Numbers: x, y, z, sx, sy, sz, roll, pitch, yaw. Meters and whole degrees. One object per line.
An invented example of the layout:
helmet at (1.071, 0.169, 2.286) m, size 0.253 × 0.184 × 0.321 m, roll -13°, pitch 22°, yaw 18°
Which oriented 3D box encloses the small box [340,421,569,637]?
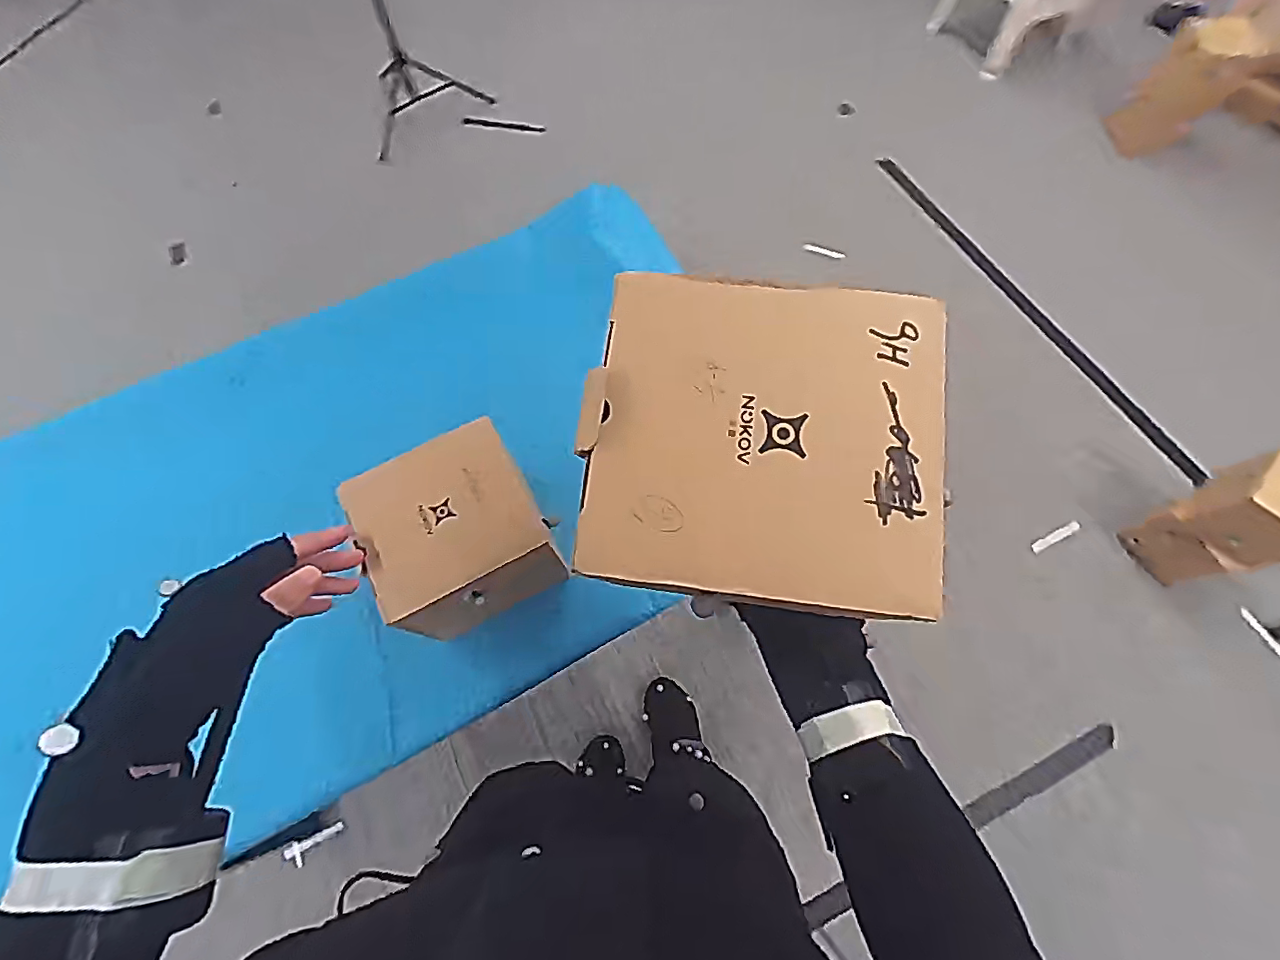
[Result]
small box at (-0.203, 0.068, 0.631) m, size 0.179 × 0.176 × 0.168 m, roll -27°, pitch 70°, yaw -8°

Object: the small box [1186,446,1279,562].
small box at (1.354, 0.050, 1.161) m, size 0.179 × 0.176 × 0.168 m, roll -41°, pitch 71°, yaw -10°

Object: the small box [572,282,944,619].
small box at (0.065, -0.003, 0.348) m, size 0.179 × 0.176 × 0.168 m, roll 5°, pitch 78°, yaw 4°

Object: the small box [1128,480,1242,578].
small box at (1.353, 0.118, 1.312) m, size 0.179 × 0.176 × 0.168 m, roll -28°, pitch 70°, yaw -9°
